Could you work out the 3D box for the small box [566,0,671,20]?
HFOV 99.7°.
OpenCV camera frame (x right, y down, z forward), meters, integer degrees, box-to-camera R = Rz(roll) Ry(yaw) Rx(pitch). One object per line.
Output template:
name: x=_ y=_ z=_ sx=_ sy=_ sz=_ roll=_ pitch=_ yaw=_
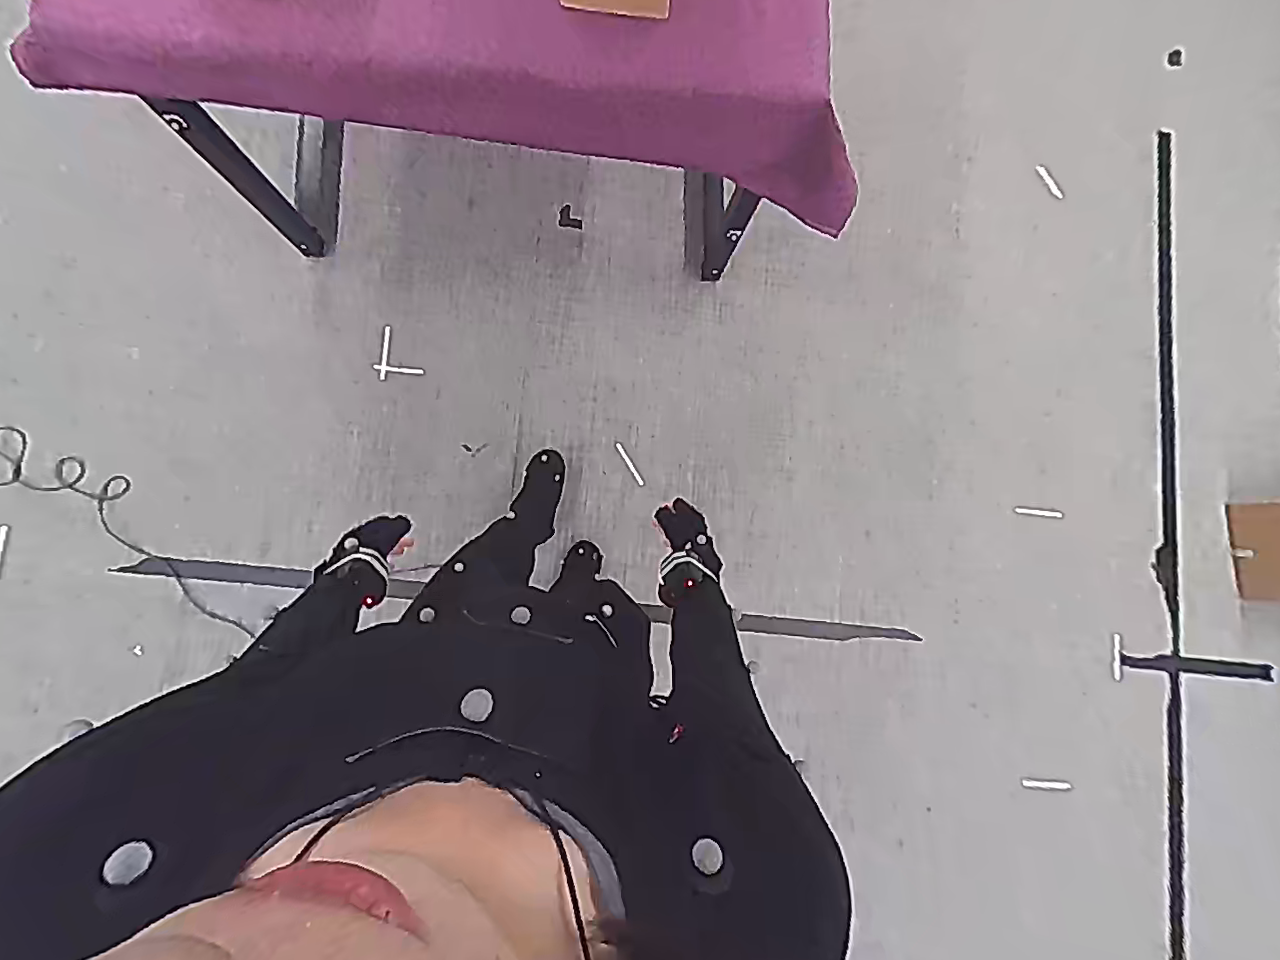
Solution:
small box: x=-0.029 y=-0.846 z=0.814 sx=0.179 sy=0.176 sz=0.168 roll=2 pitch=84 yaw=-4
